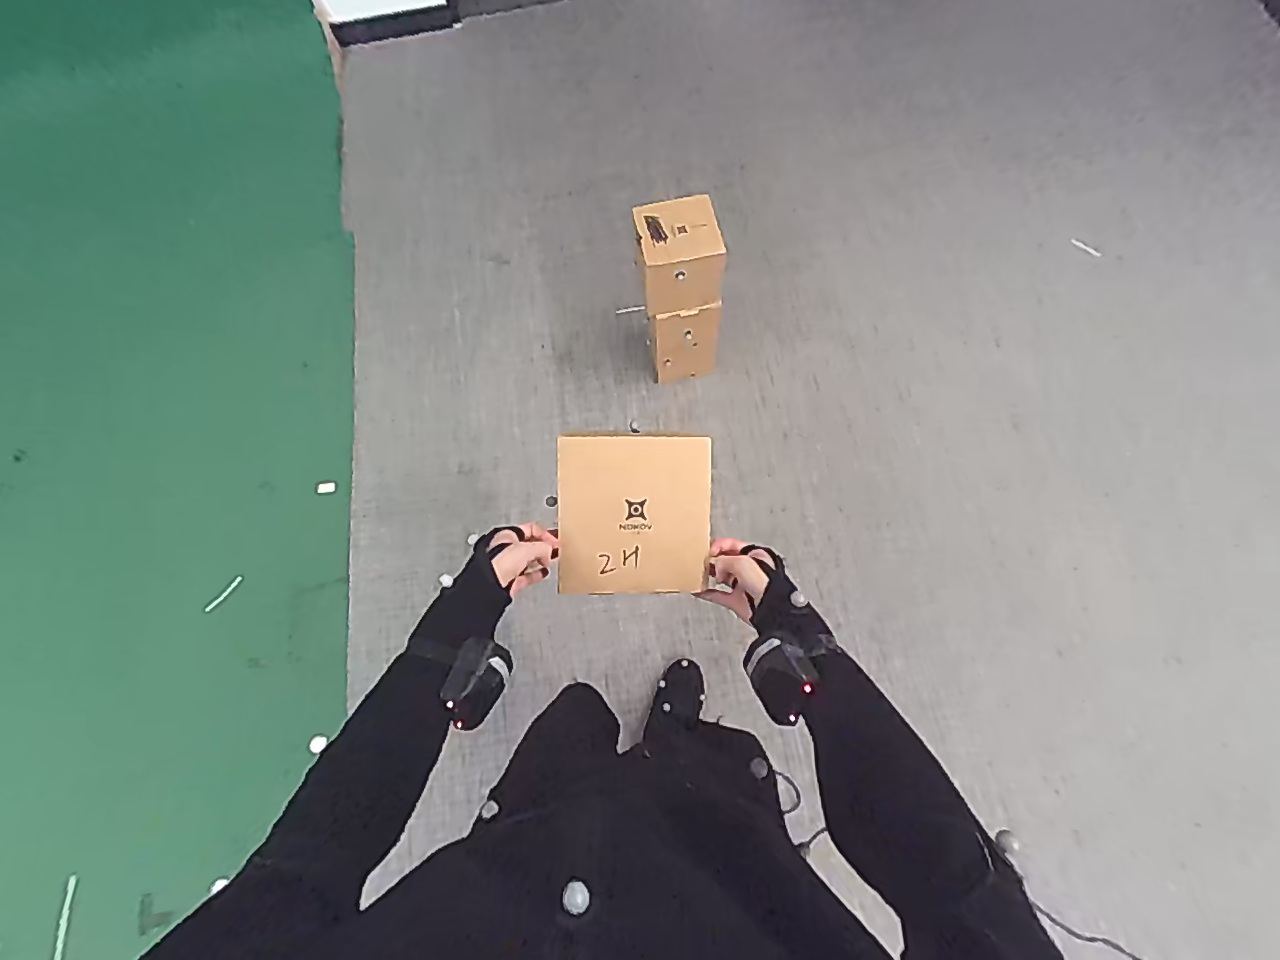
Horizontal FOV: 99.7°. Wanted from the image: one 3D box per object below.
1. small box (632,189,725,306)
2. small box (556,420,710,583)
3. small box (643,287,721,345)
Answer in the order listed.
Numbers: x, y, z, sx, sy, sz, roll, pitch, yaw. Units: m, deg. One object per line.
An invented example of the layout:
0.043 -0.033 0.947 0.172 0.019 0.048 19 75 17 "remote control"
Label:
0.084 -0.517 1.223 0.179 0.176 0.168 -11 71 -1 "small box"
-0.015 0.016 0.657 0.168 0.176 0.179 0 98 -5 "small box"
0.102 -0.461 1.378 0.168 0.176 0.179 -11 72 -1 "small box"
